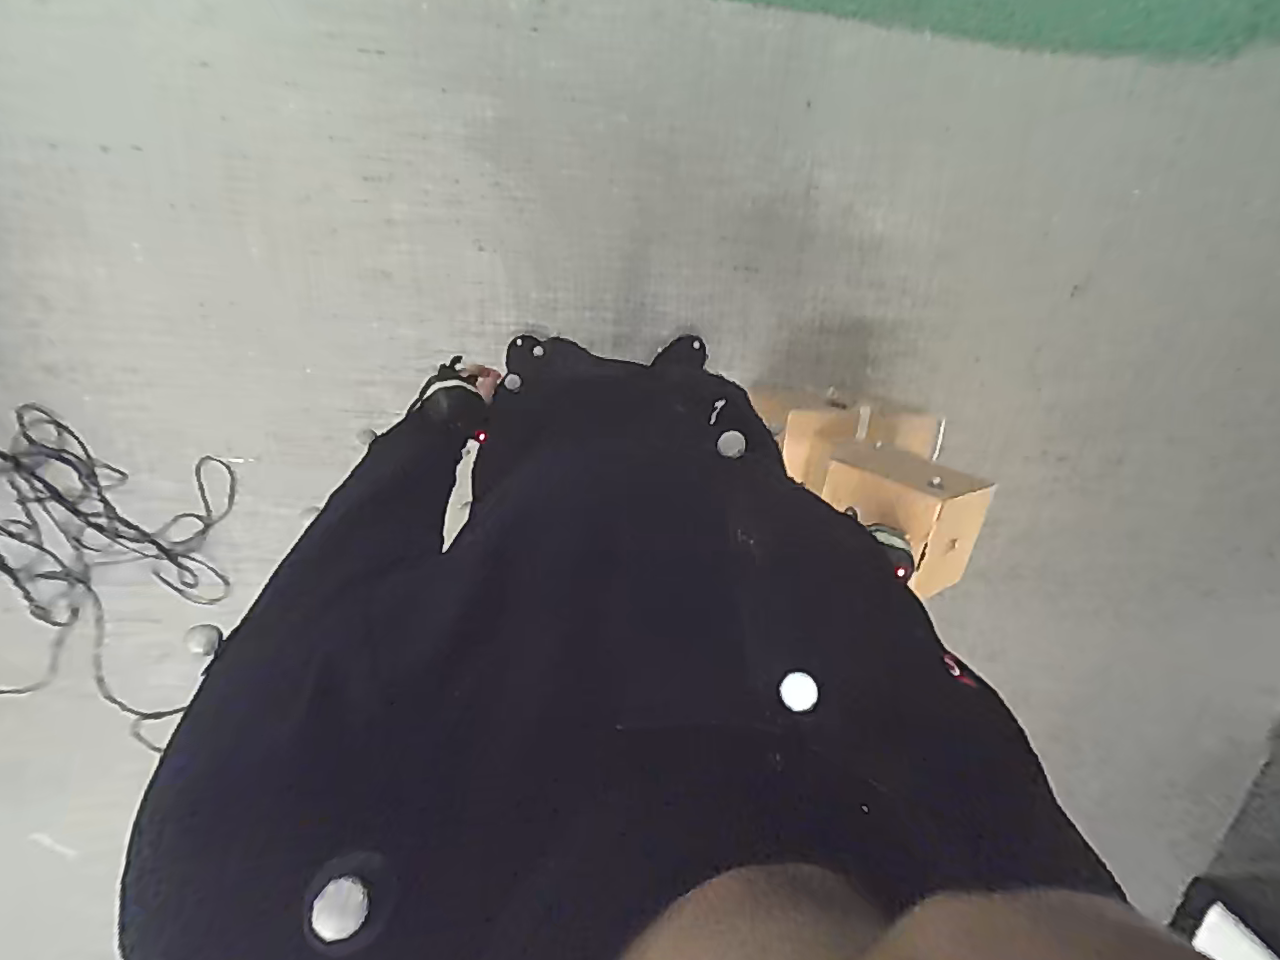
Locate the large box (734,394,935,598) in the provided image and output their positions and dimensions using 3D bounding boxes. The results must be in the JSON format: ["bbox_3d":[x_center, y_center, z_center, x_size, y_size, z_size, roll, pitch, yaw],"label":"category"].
[{"bbox_3d":[0.419,0.022,1.264,0.320,0.320,0.408,2,109,-4],"label":"large box"}]

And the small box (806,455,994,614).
[{"bbox_3d":[0.381,0.067,0.807,0.179,0.176,0.168,-8,115,-37],"label":"small box"}]
